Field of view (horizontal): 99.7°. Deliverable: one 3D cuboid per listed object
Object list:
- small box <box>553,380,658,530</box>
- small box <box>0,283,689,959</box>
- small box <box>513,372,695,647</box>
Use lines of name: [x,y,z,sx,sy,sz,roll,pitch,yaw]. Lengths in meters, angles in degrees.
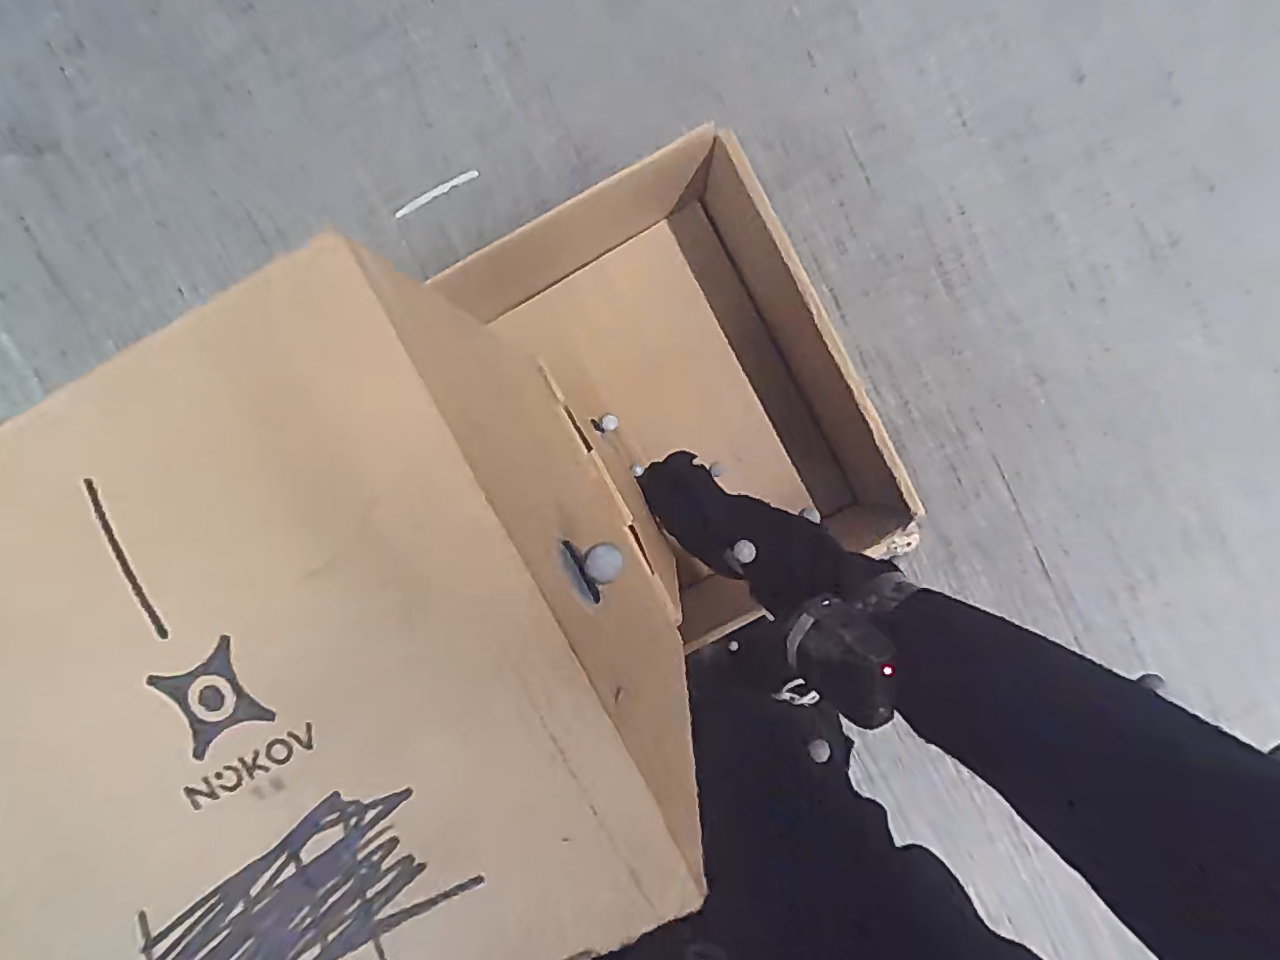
small box: [-0.092,0.024,0.541,0.179,0.176,0.168,-30,91,3]
small box: [-0.092,0.060,0.214,0.168,0.176,0.179,-28,91,3]
small box: [-0.085,0.050,0.361,0.179,0.176,0.168,-32,92,2]
